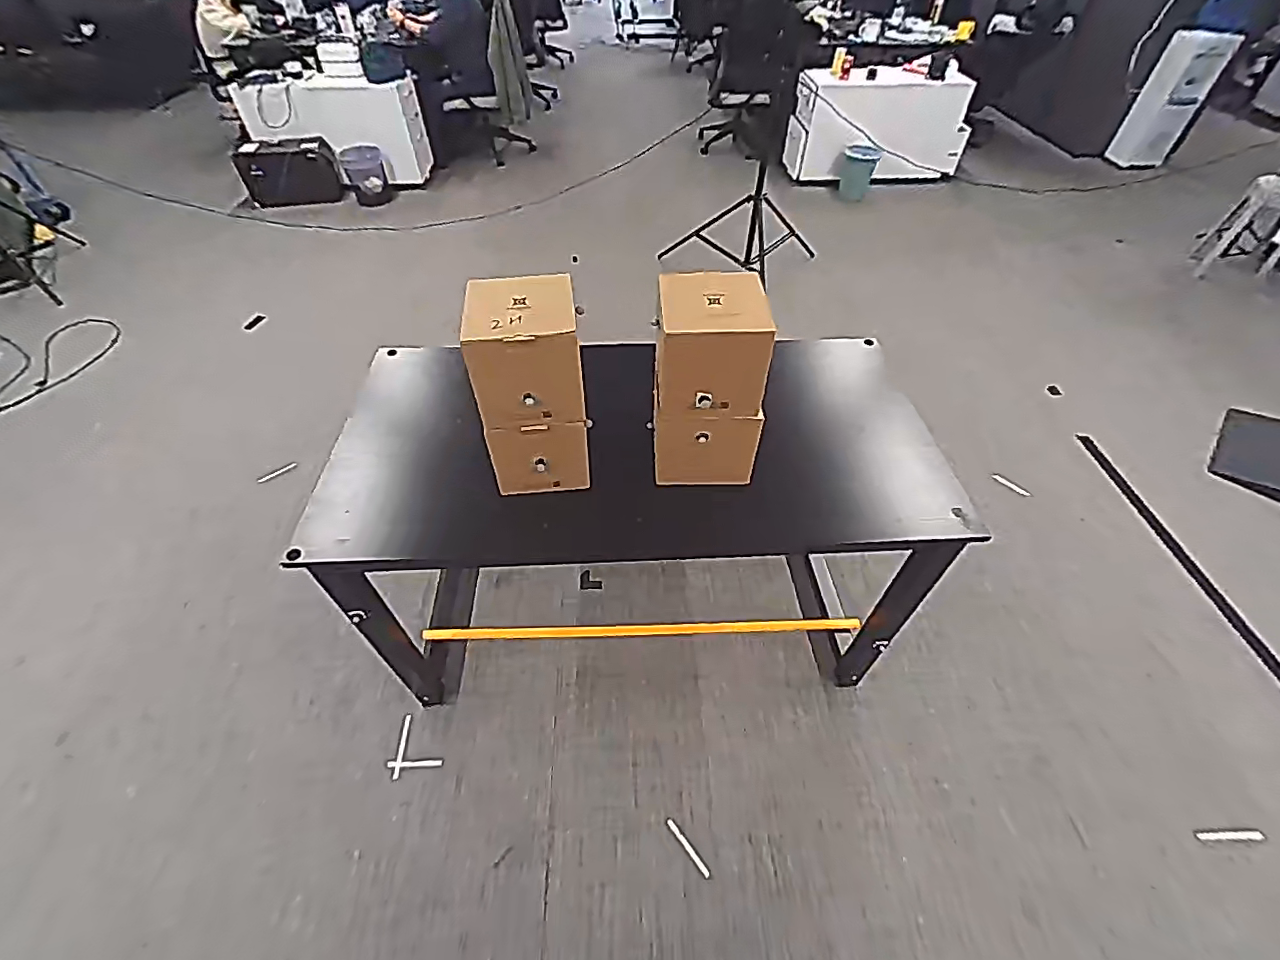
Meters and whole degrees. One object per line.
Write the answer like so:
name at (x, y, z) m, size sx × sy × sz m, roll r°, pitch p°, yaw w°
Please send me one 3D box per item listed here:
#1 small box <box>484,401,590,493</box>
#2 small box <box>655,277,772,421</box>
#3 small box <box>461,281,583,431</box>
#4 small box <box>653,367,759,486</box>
small box at (-0.185, -0.089, 1.008) m, size 0.168 × 0.176 × 0.179 m, roll -5°, pitch 48°, yaw -4°
small box at (0.111, -0.217, 0.902) m, size 0.168 × 0.176 × 0.179 m, roll -3°, pitch 49°, yaw 0°
small box at (-0.185, -0.203, 0.887) m, size 0.168 × 0.176 × 0.179 m, roll -7°, pitch 48°, yaw -5°
small box at (0.114, -0.102, 1.017) m, size 0.179 × 0.176 × 0.168 m, roll -1°, pitch 48°, yaw -1°
